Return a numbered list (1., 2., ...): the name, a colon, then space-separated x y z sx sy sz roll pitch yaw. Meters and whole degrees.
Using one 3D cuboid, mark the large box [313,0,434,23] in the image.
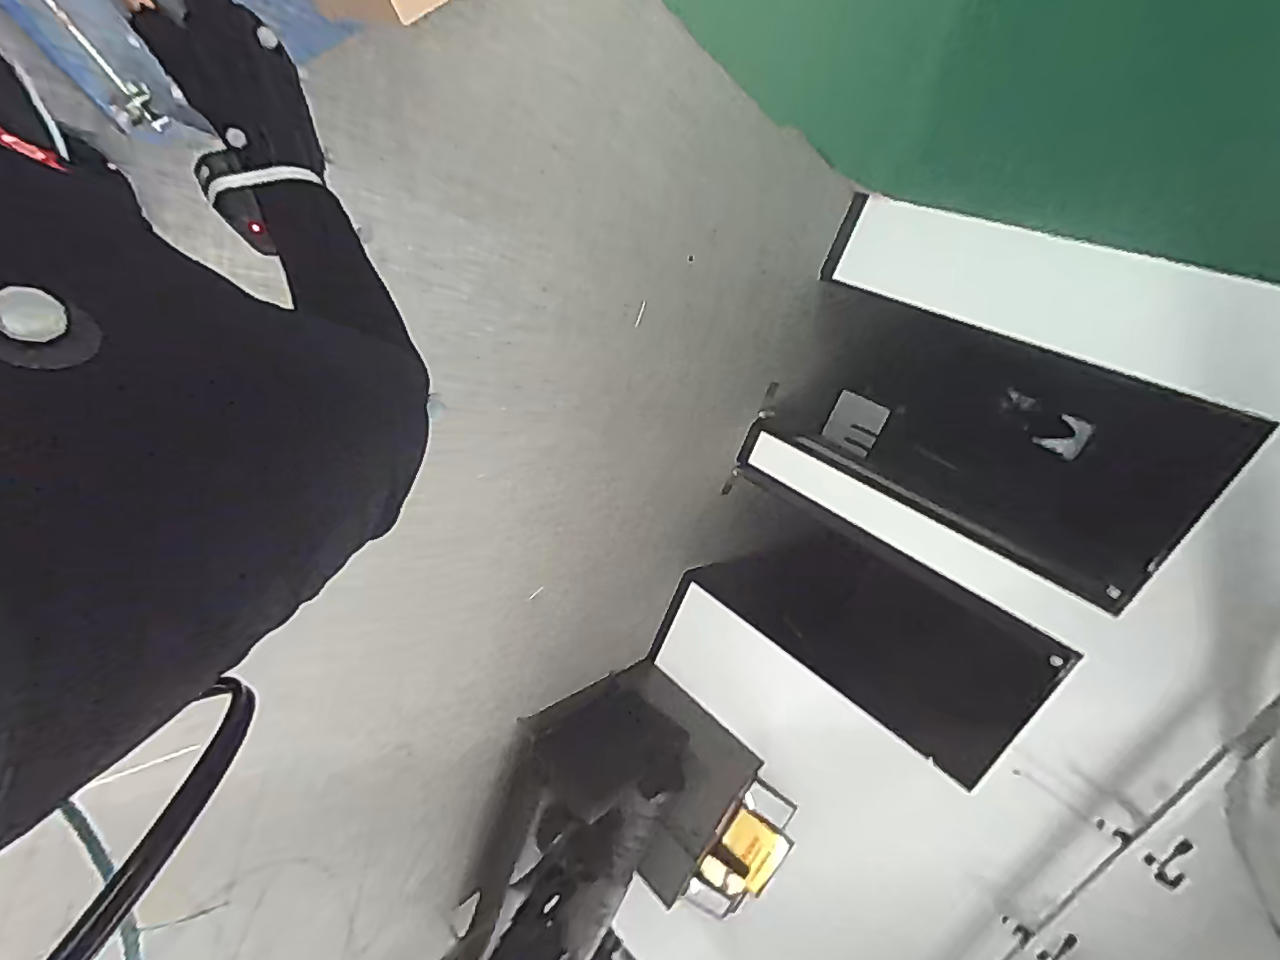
1. large box: -0.408 -0.948 0.746 0.320 0.320 0.408 -46 146 -14
